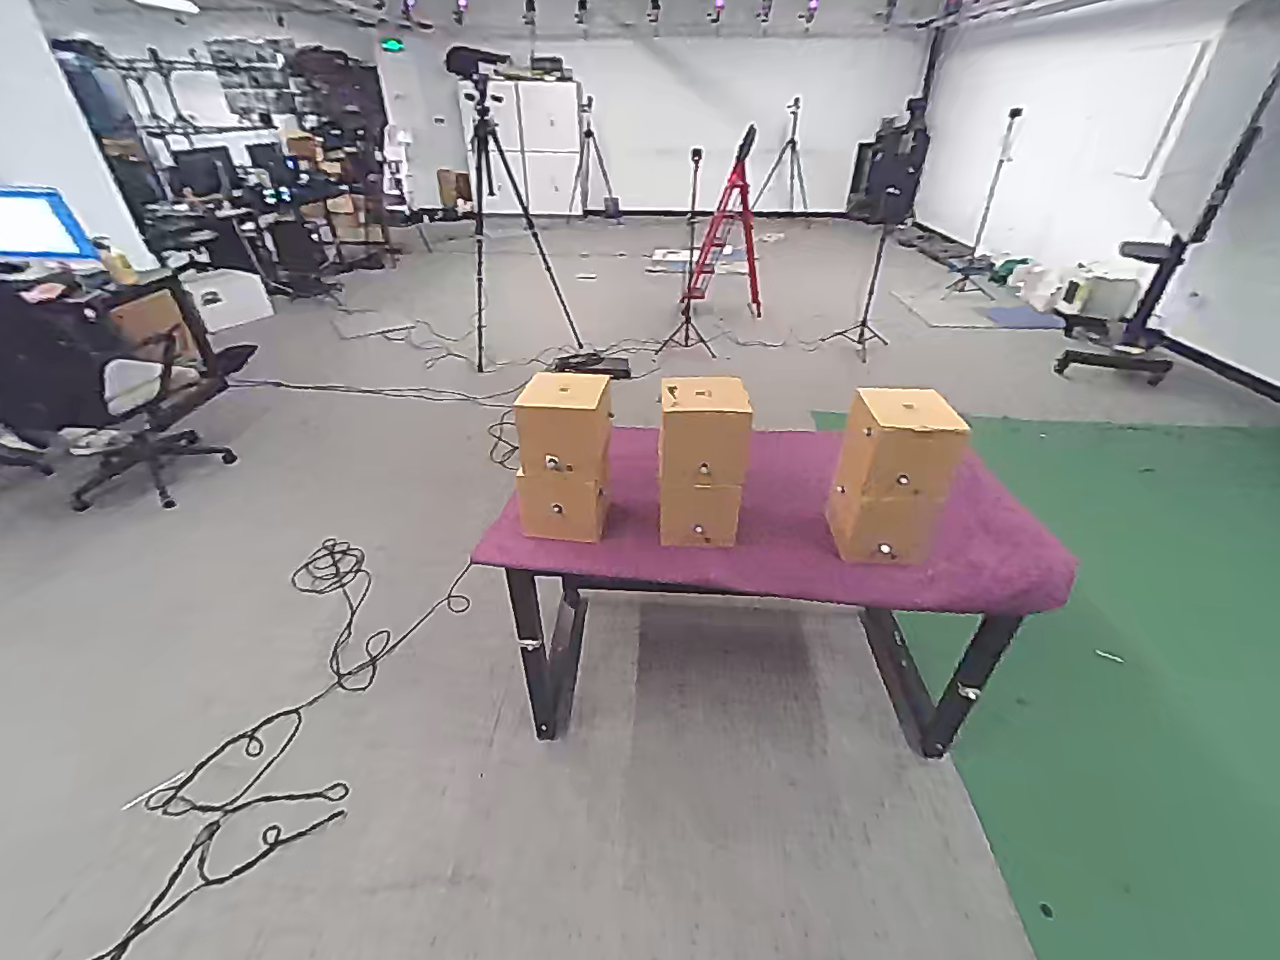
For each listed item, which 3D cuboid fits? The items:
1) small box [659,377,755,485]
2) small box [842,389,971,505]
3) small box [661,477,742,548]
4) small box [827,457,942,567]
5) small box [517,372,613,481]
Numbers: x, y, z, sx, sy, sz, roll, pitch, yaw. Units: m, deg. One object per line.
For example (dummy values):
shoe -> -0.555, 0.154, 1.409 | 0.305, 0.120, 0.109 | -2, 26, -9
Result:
small box -> 0.132, -0.102, 1.136 | 0.179, 0.176, 0.168 | 2, 33, 0
small box -> 0.527, -0.070, 1.101 | 0.168, 0.176, 0.179 | 2, 35, 2
small box -> 0.132, 0.033, 1.229 | 0.168, 0.176, 0.179 | 1, 34, 1
small box -> 0.524, 0.067, 1.189 | 0.168, 0.176, 0.179 | 2, 35, 3
small box -> -0.151, -0.118, 1.155 | 0.168, 0.176, 0.179 | 3, 34, 5
